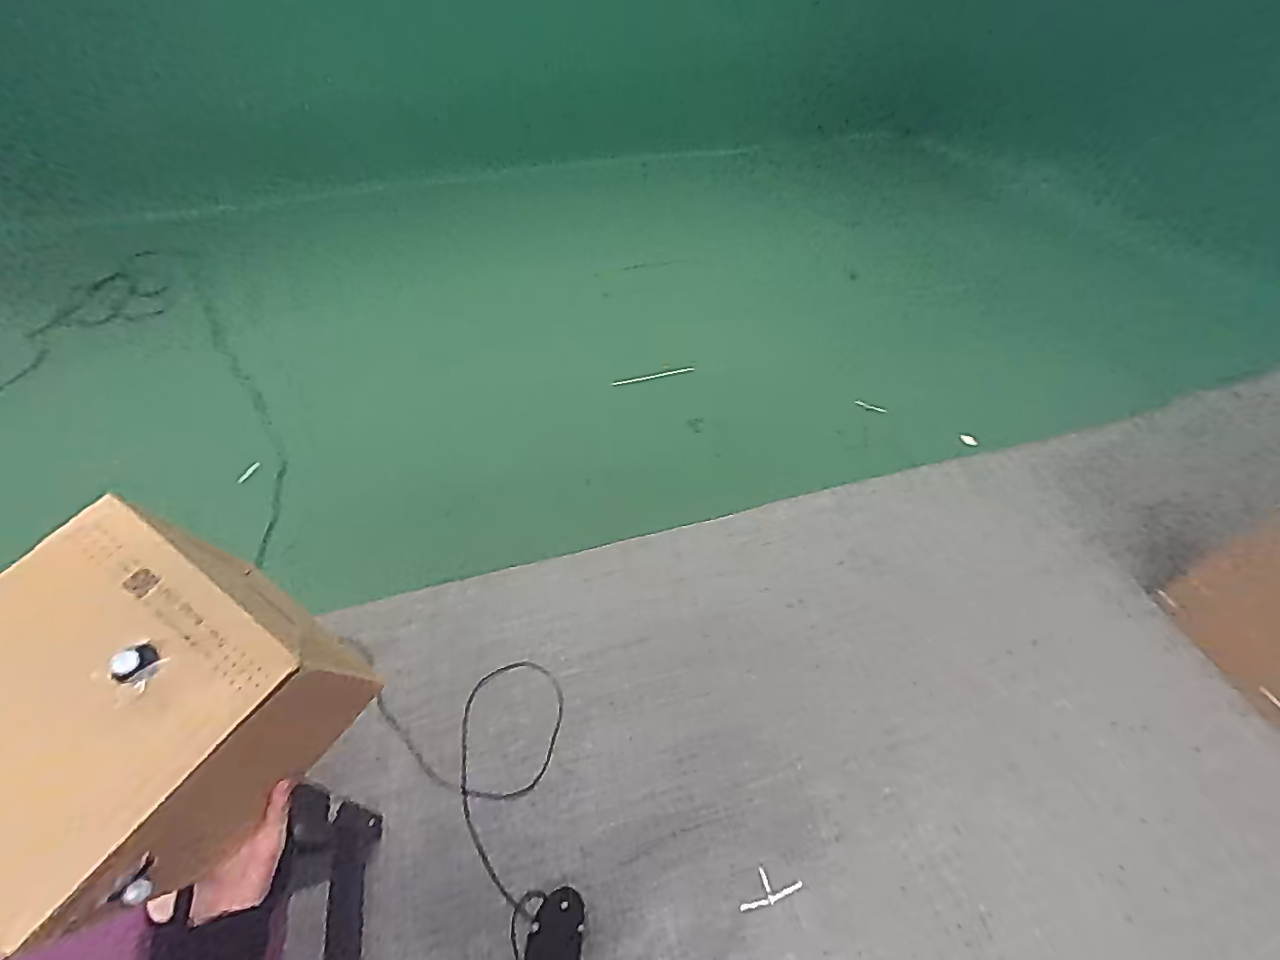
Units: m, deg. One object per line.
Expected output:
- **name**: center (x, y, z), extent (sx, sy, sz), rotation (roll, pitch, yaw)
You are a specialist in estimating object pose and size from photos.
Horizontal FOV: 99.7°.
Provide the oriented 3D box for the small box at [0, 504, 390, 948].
- **small box**: center (-0.307, 0.148, 0.372), extent (0.168, 0.179, 0.176), rotation (37, 66, 9)
